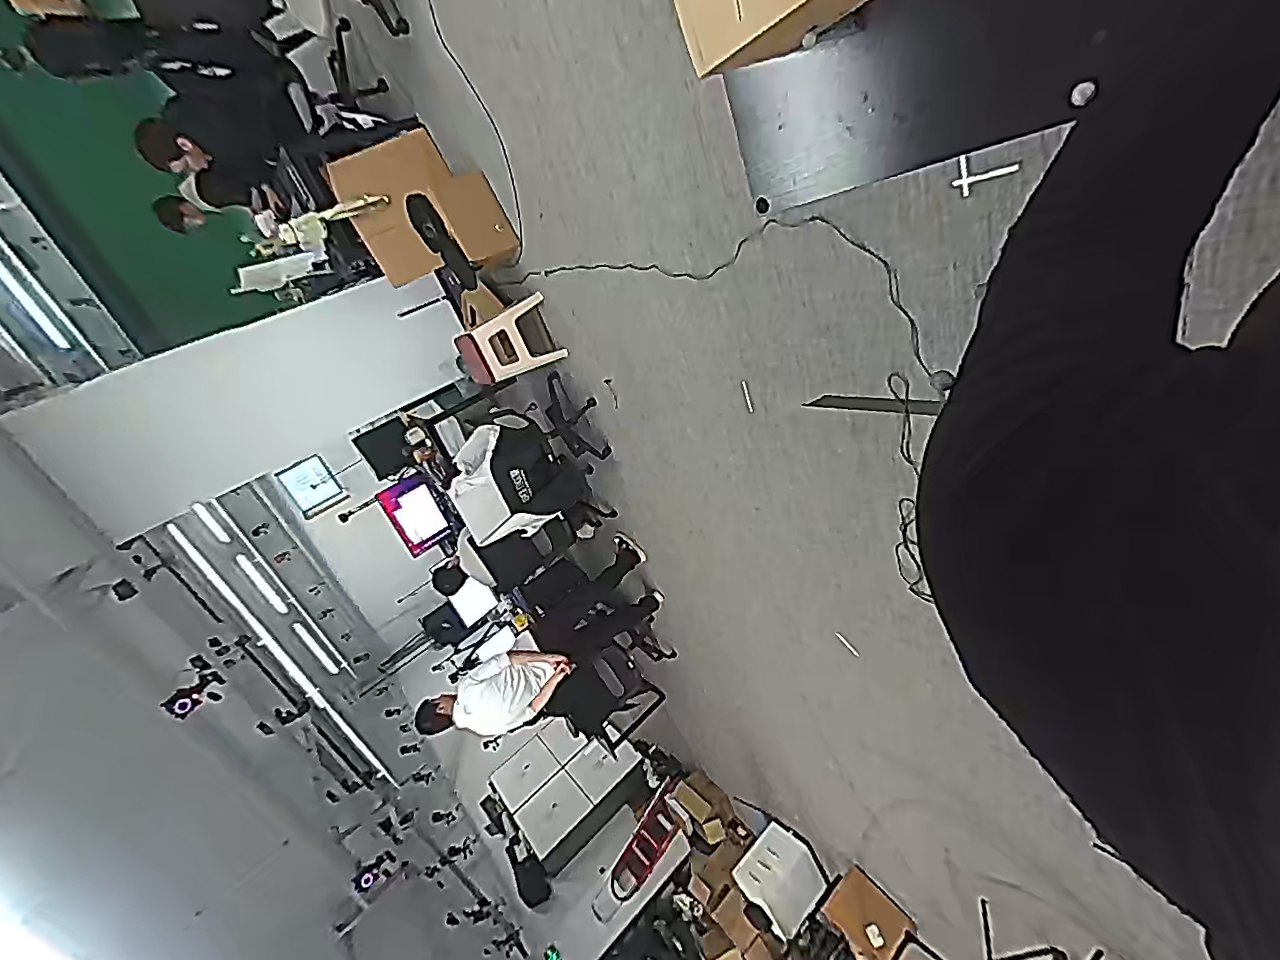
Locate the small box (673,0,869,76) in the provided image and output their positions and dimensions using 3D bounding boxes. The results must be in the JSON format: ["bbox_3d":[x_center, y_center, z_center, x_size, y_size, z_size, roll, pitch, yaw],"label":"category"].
[{"bbox_3d":[0.142,-0.581,0.578,0.168,0.176,0.179,12,132,54],"label":"small box"}]
